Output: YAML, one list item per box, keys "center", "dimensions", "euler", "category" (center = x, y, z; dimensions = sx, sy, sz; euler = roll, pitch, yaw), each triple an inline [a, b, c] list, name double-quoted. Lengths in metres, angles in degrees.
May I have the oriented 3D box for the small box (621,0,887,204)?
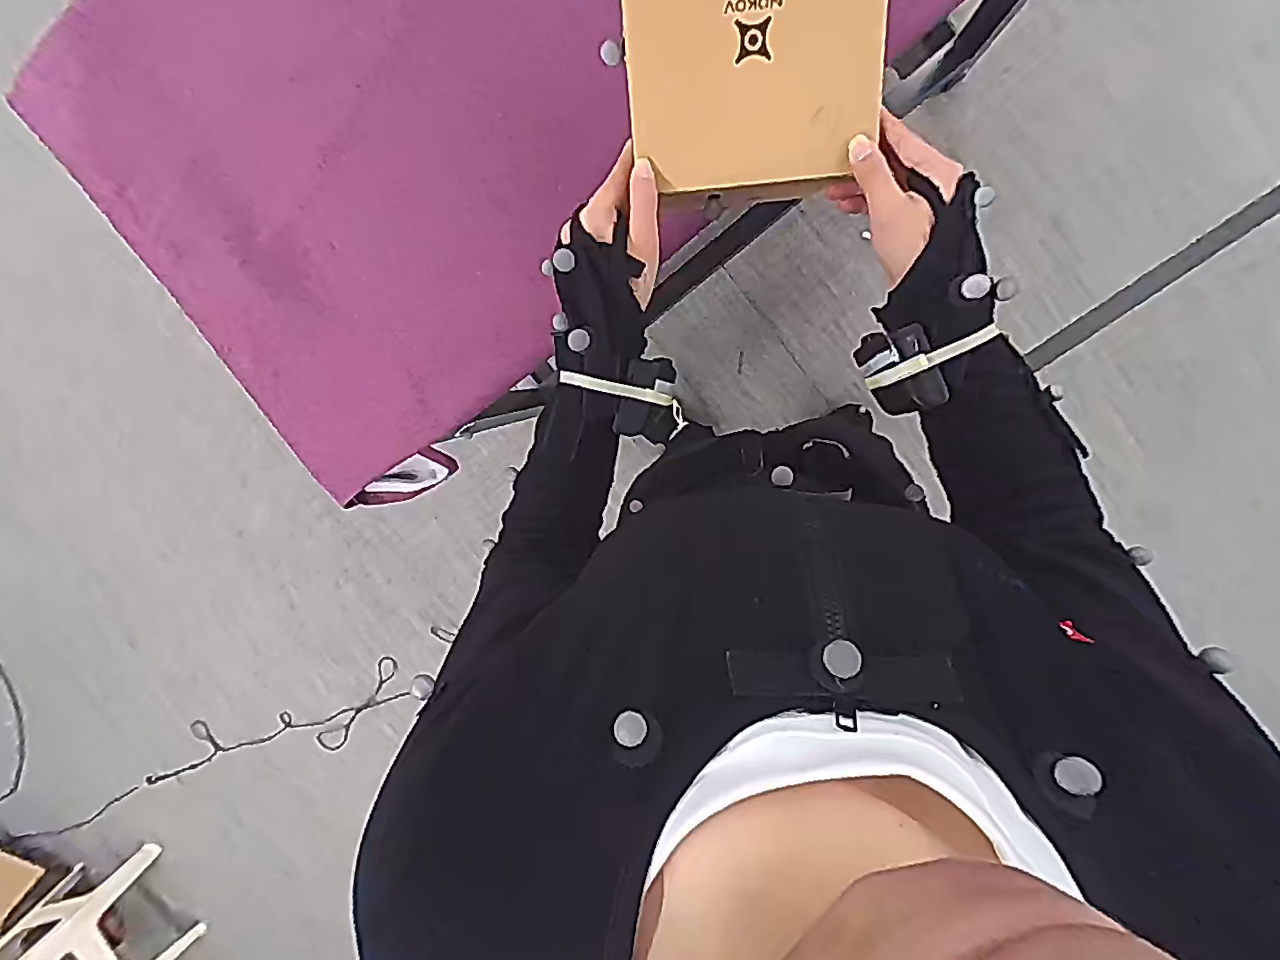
- center: [0.075, -0.317, 0.413]
  dimensions: [0.168, 0.176, 0.179]
  euler: [-4, 111, 4]
  category: "small box"
